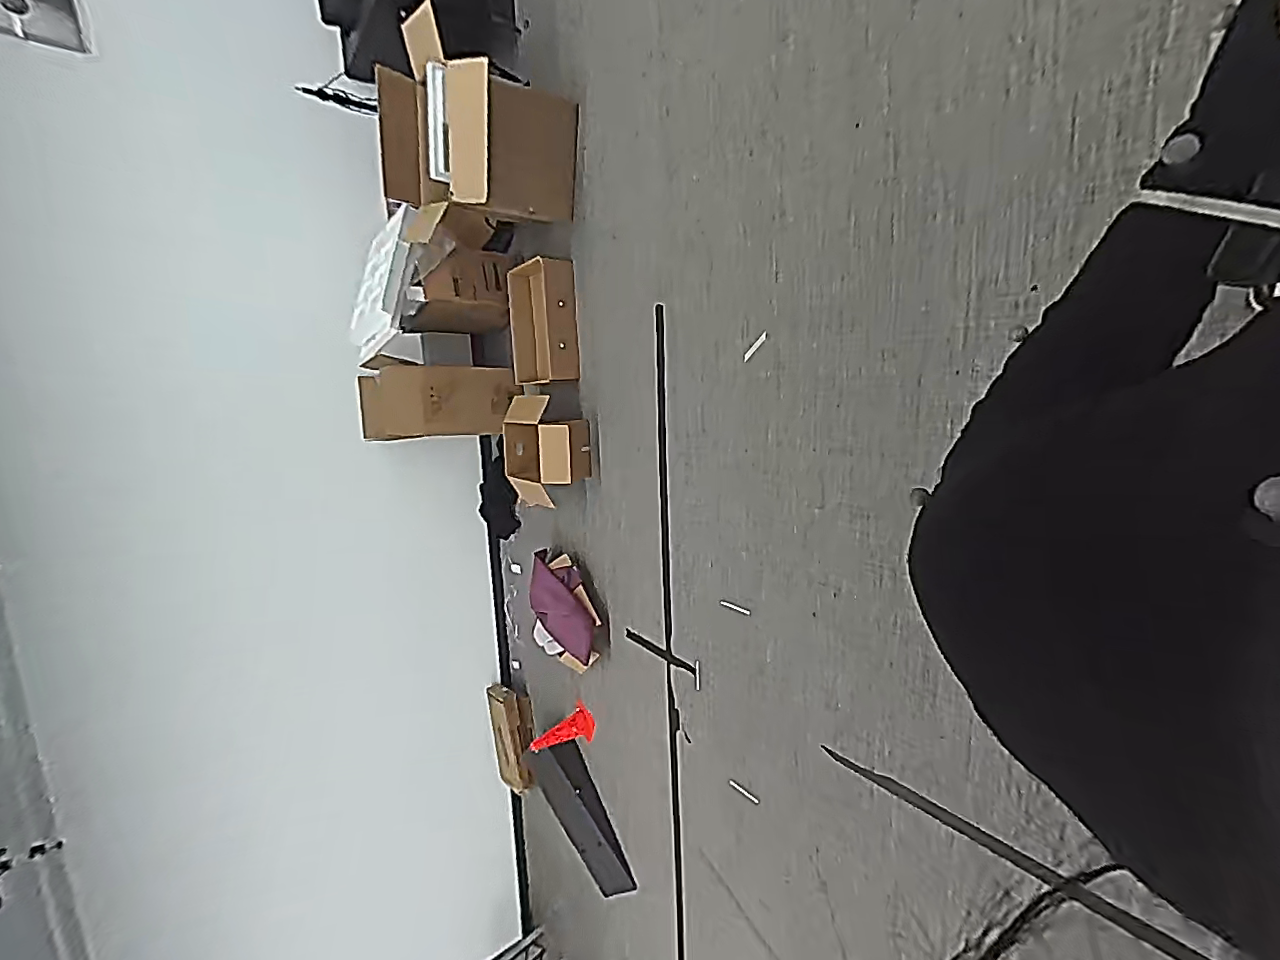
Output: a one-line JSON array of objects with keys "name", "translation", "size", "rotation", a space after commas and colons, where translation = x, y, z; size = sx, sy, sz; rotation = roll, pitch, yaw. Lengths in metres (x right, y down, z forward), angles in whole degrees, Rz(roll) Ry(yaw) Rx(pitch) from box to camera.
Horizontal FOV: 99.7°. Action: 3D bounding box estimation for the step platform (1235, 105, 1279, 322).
[{"name": "step platform", "translation": [1.096, -0.345, 0.524], "size": [0.684, 0.204, 0.286], "rotation": [7, 103, 51]}]
